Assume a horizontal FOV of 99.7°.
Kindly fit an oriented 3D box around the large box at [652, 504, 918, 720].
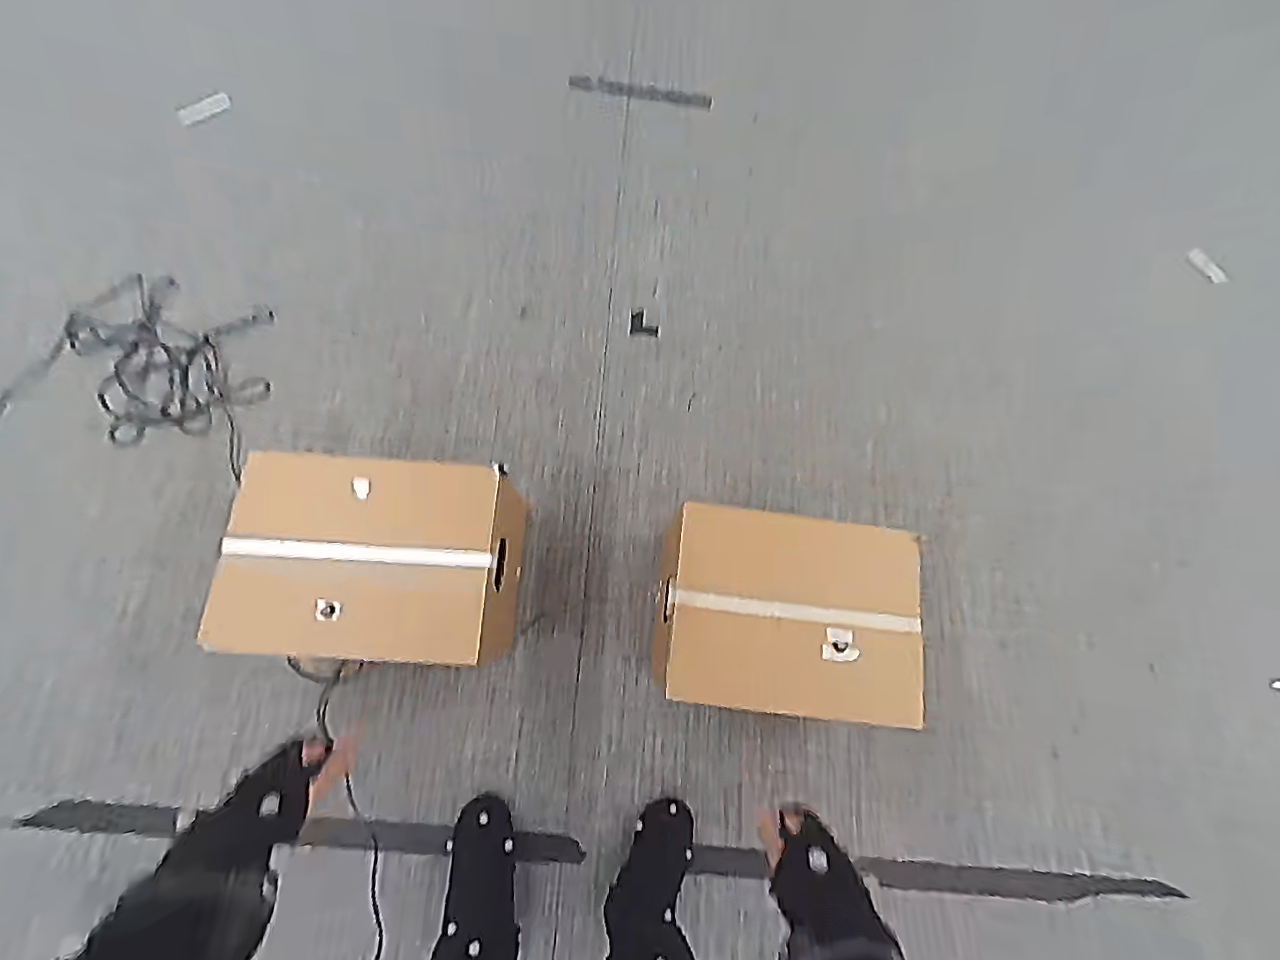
[{"bbox_3d":[0.245,0.251,1.027,0.408,0.320,0.320,8,74,-3],"label":"large box"}]
